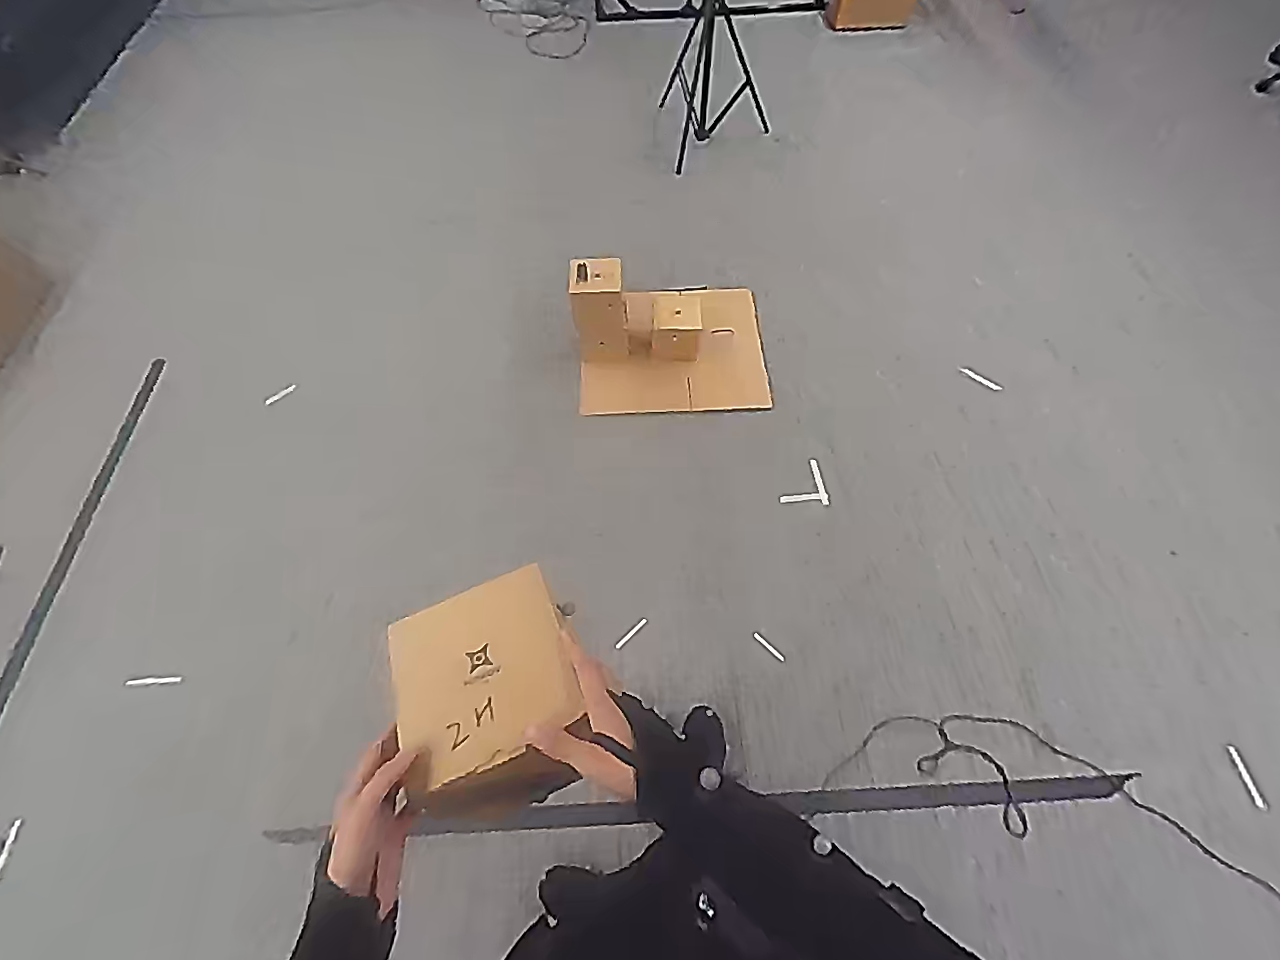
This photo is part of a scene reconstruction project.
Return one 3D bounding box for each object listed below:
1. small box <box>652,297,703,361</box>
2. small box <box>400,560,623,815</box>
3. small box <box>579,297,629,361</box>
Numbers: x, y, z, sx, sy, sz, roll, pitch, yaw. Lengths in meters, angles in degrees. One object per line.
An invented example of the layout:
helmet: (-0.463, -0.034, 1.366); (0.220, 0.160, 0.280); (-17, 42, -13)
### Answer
small box: (0.136, -0.563, 2.024); (0.179, 0.176, 0.168); (-1, 62, 1)
small box: (-0.131, 0.222, 0.577); (0.168, 0.176, 0.179); (-23, 52, -8)
small box: (-0.130, -0.562, 2.026); (0.179, 0.176, 0.168); (-3, 61, 1)
